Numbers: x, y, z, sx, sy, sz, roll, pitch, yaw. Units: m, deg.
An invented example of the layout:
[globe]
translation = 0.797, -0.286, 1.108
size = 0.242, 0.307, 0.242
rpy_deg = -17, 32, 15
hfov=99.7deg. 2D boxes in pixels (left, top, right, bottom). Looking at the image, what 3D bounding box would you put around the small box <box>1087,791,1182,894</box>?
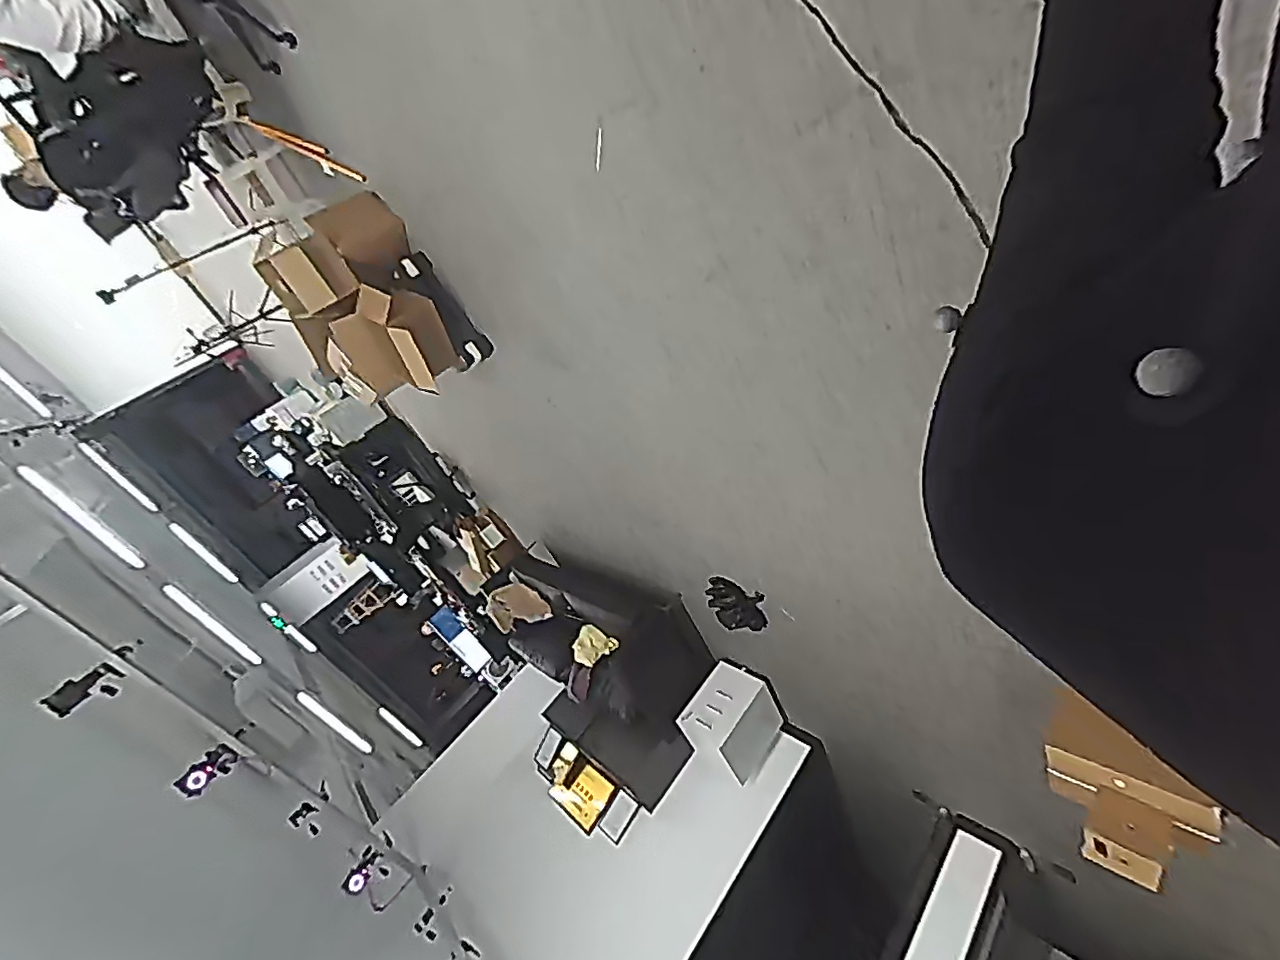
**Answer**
[small box]
translation = 1.495, 1.084, 1.638
size = 0.179, 0.176, 0.168
rpy_deg = 15, 137, 45
